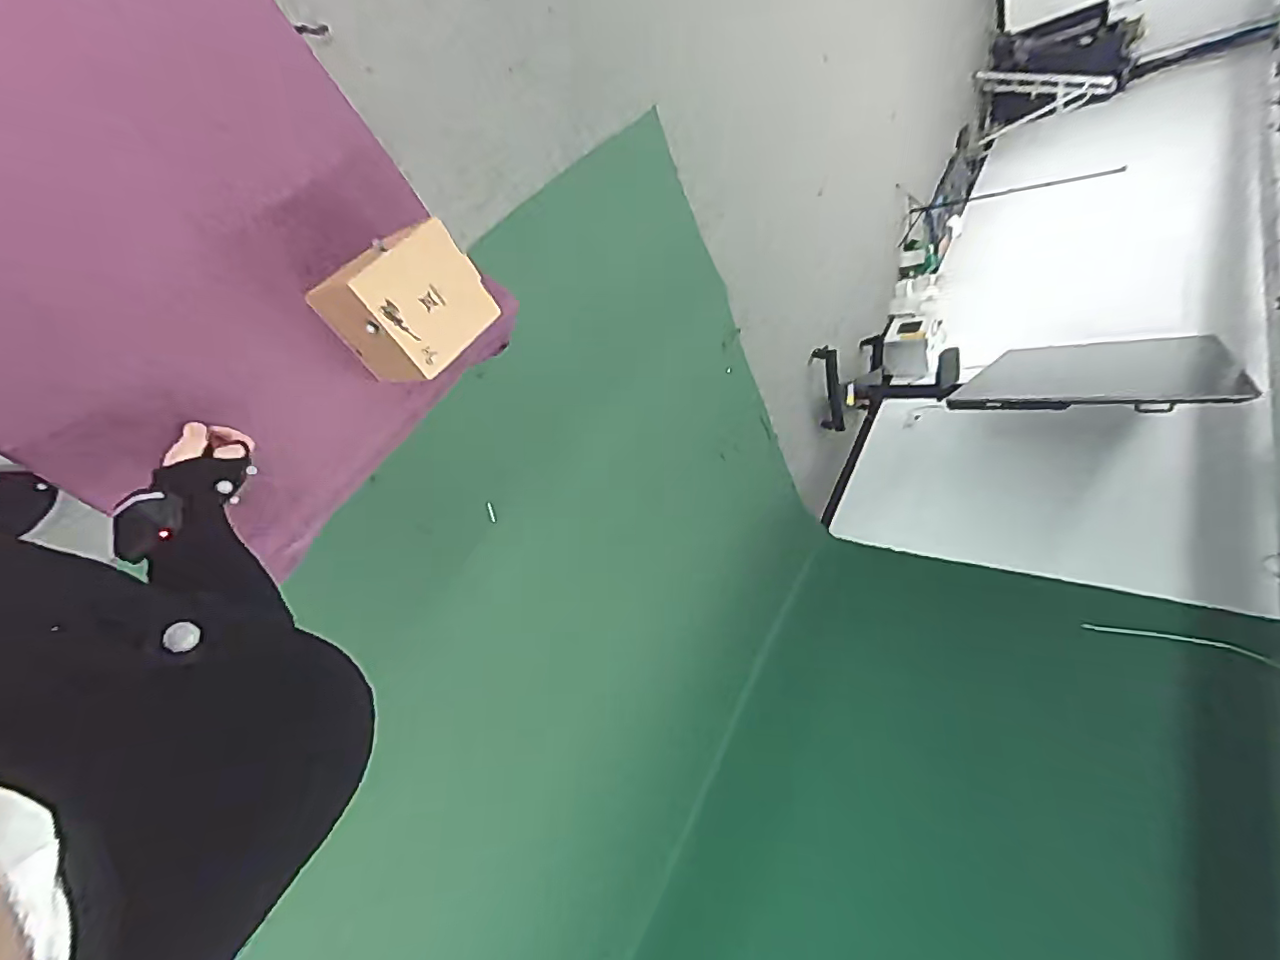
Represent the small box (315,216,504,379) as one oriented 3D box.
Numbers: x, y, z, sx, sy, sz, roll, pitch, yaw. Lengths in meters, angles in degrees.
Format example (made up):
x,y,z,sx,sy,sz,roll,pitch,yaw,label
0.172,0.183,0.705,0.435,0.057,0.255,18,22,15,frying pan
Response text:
x,y,z,sx,sy,sz,roll,pitch,yaw,label
-0.356,-0.274,0.837,0.179,0.176,0.168,-55,132,-27,small box
